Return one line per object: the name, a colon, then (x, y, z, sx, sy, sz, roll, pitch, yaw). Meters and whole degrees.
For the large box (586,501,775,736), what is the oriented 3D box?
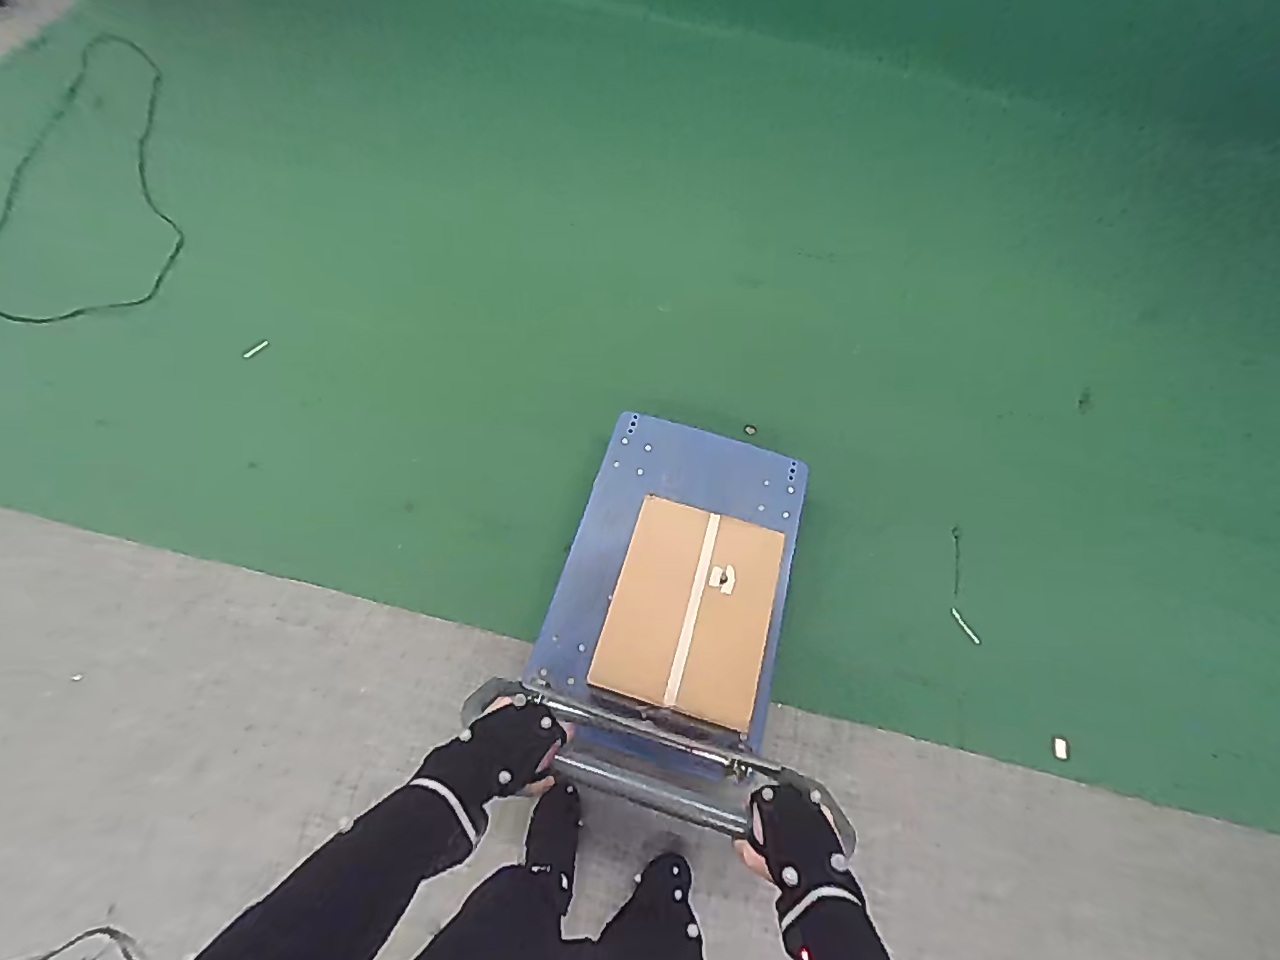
large box: (0.085, 0.321, 1.216, 0.320, 0.320, 0.408, 17, 64, 3)
